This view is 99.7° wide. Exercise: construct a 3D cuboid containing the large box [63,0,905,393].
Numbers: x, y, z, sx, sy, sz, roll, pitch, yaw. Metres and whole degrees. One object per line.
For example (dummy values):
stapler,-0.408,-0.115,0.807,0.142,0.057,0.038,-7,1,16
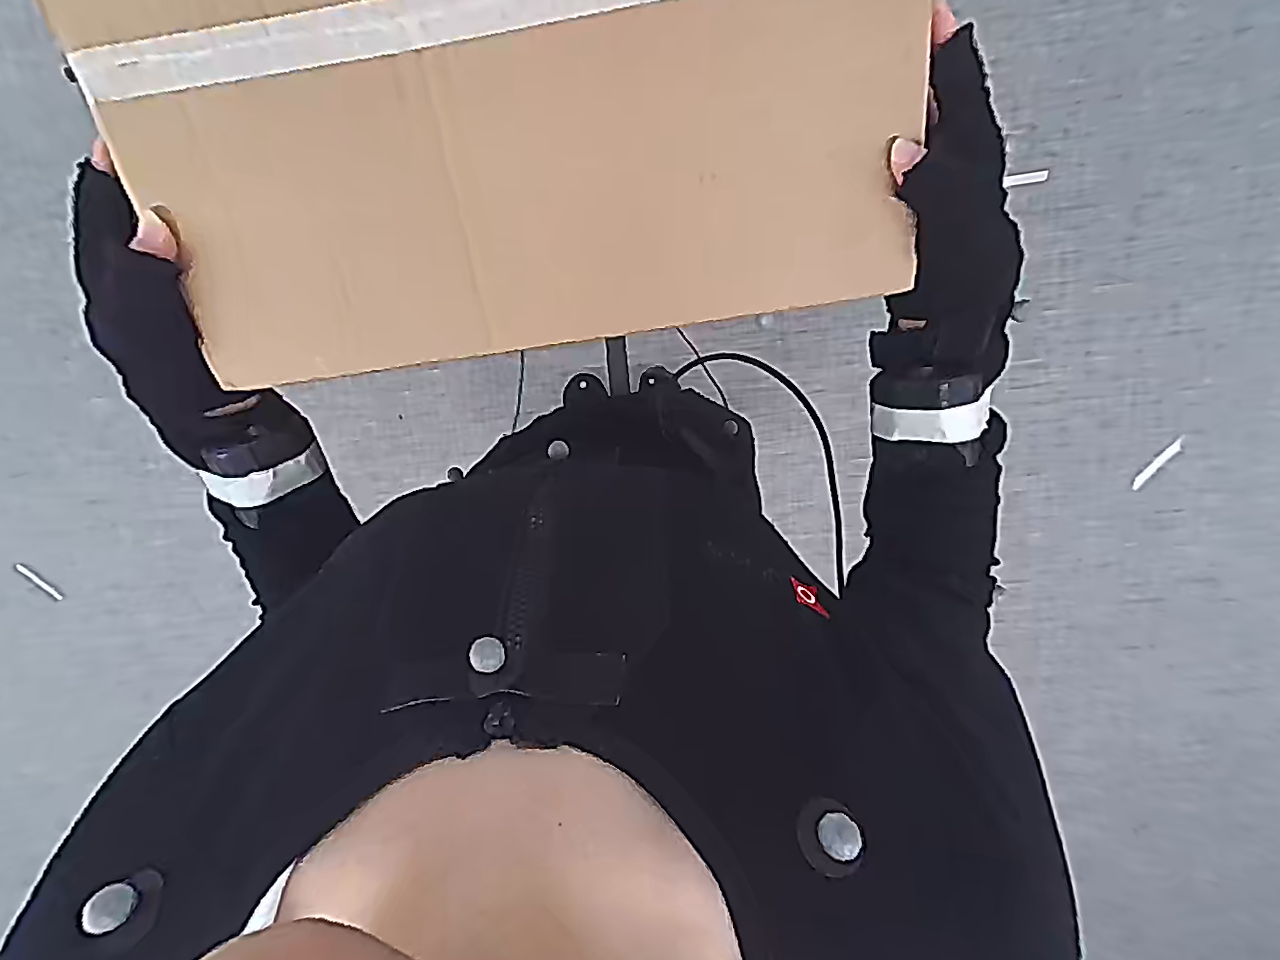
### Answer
large box,-0.070,-0.280,0.398,0.408,0.320,0.320,-8,113,3
